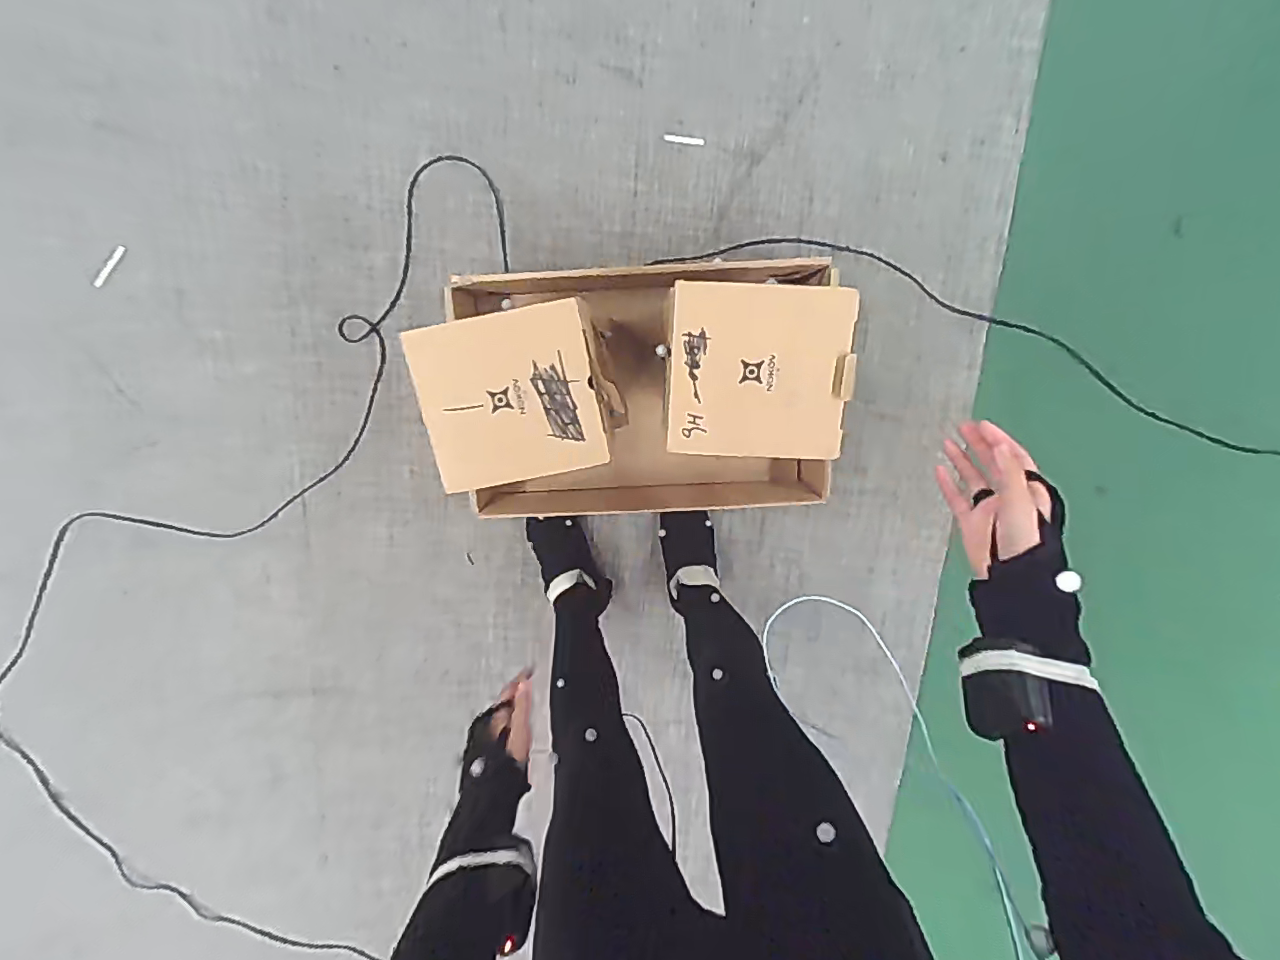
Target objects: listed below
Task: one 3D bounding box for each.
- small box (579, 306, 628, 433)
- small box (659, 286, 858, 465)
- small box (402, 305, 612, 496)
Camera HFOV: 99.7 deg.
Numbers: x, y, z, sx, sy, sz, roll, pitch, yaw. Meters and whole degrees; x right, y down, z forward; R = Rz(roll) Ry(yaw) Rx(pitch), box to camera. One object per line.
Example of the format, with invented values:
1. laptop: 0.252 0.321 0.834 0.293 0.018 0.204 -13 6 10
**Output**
1. small box: -0.124 -0.138 0.769 0.179 0.176 0.168 -18 104 3
2. small box: 0.115 -0.117 0.600 0.179 0.176 0.168 3 103 0
3. small box: -0.131 -0.095 0.610 0.179 0.176 0.168 -11 104 2
